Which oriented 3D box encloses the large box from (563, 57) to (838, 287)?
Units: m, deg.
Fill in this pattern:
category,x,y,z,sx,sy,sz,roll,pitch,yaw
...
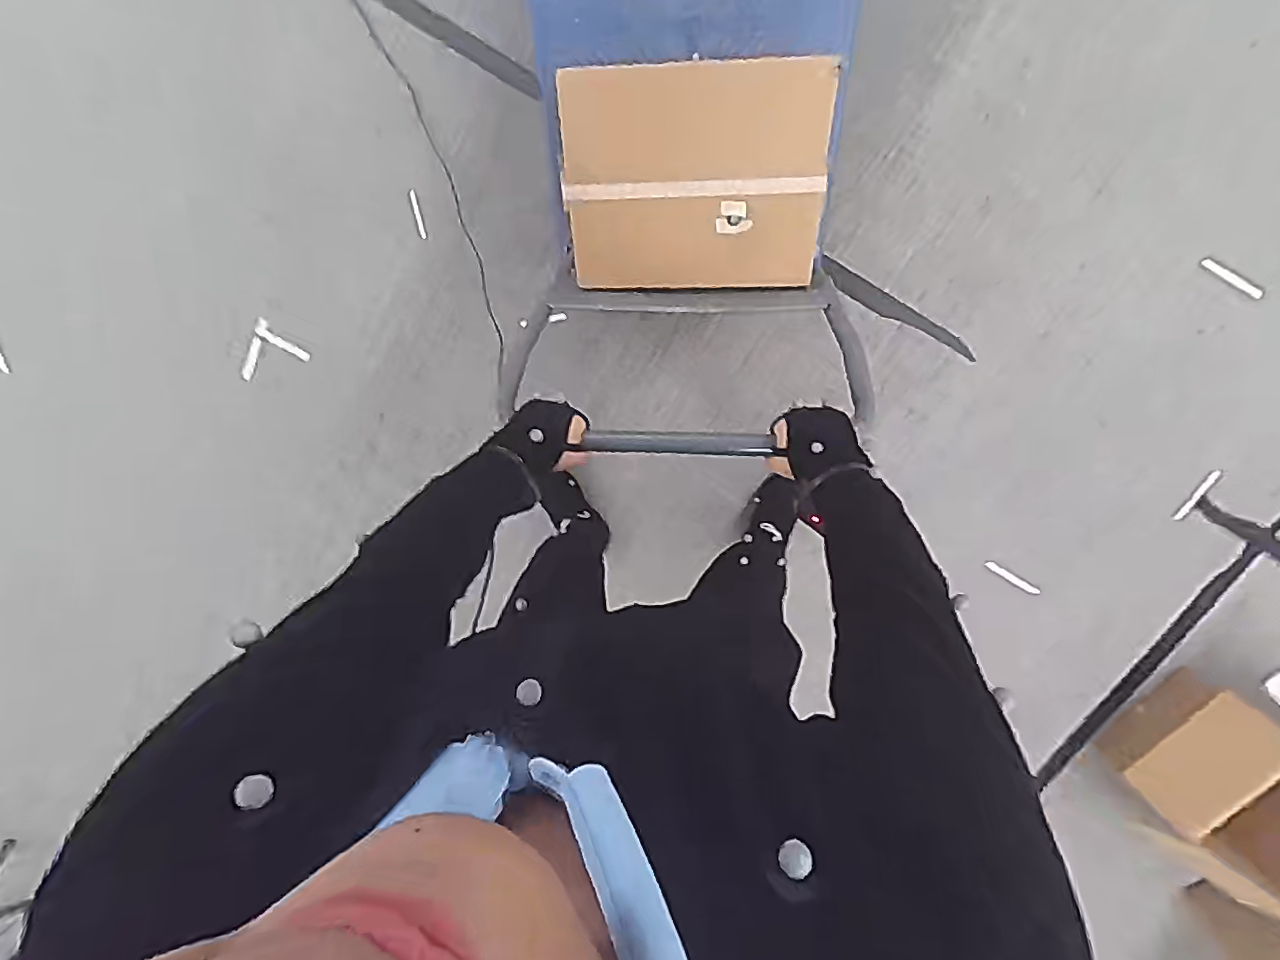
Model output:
category,x,y,z,sx,sy,sz,roll,pitch,yaw
large box,0.100,-0.556,0.985,0.408,0.320,0.320,1,126,5
